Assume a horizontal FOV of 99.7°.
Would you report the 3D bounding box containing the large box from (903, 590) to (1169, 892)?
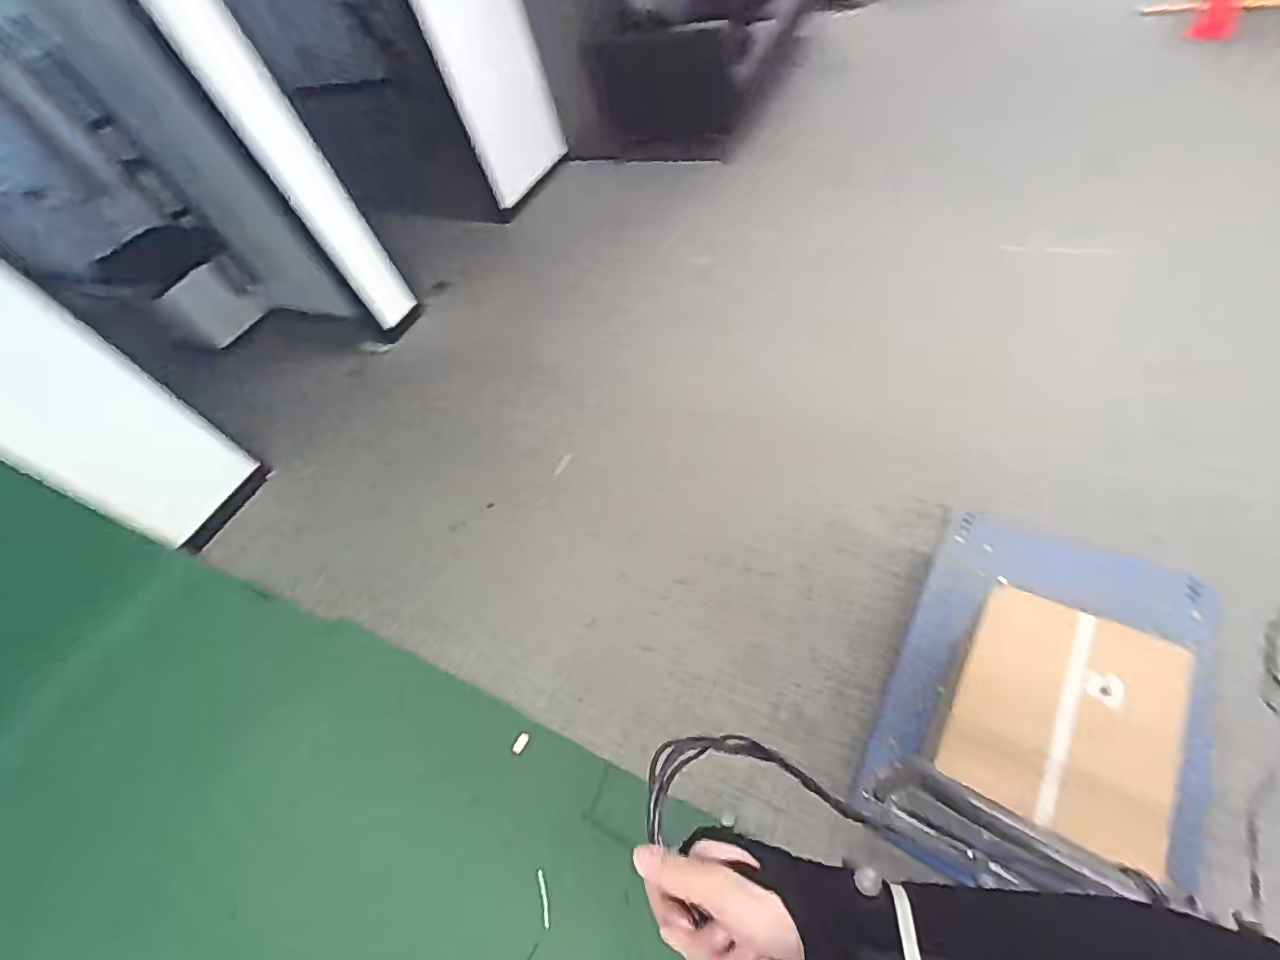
[{"bbox_3d":[0.756,0.507,1.070,0.320,0.320,0.408,21,61,28],"label":"large box"}]
